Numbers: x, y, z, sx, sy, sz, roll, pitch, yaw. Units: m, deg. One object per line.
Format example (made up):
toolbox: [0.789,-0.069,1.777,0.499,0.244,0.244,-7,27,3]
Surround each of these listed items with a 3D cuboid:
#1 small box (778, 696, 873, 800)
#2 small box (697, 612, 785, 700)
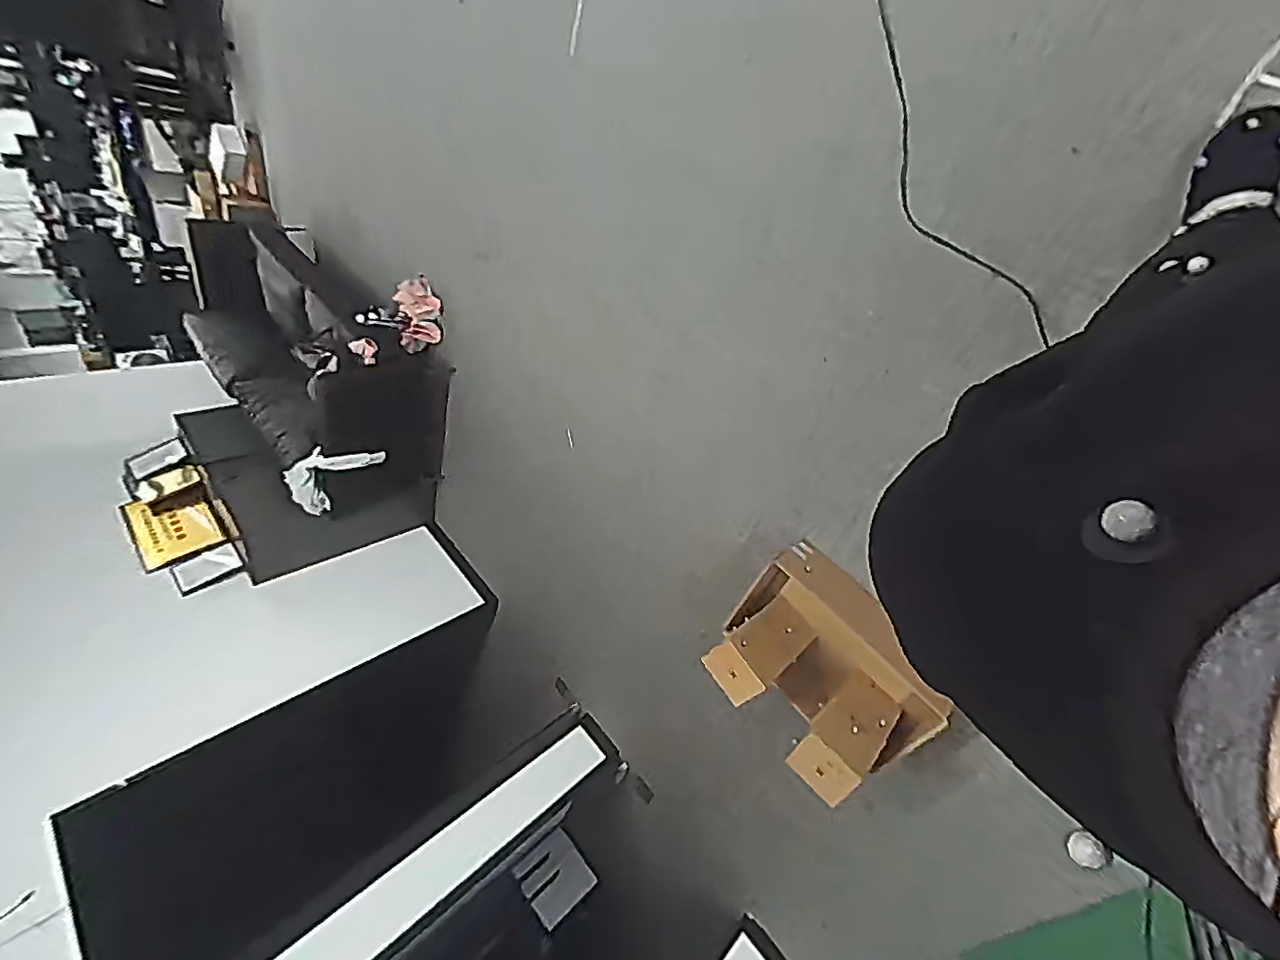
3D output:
small box: [0.537,0.765,1.553,0.168,0.176,0.179,41,130,25]
small box: [0.319,0.546,1.690,0.179,0.176,0.168,52,134,17]
